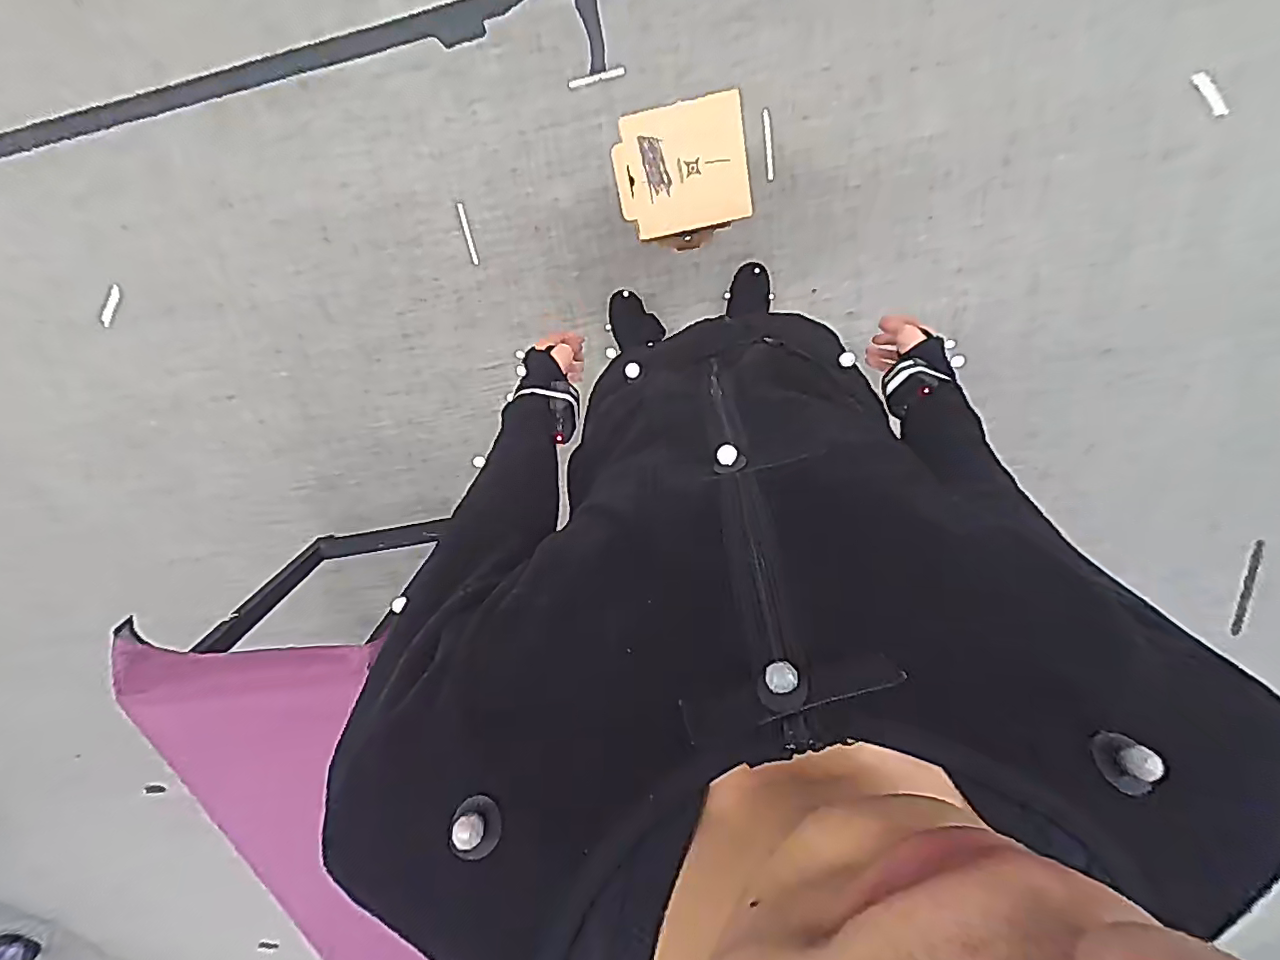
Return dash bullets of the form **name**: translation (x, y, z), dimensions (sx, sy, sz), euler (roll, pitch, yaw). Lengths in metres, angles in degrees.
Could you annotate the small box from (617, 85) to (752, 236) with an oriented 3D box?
- **small box**: translation (0.070, -0.490, 0.856), dimensions (0.179, 0.176, 0.168), euler (-10, 114, 6)
